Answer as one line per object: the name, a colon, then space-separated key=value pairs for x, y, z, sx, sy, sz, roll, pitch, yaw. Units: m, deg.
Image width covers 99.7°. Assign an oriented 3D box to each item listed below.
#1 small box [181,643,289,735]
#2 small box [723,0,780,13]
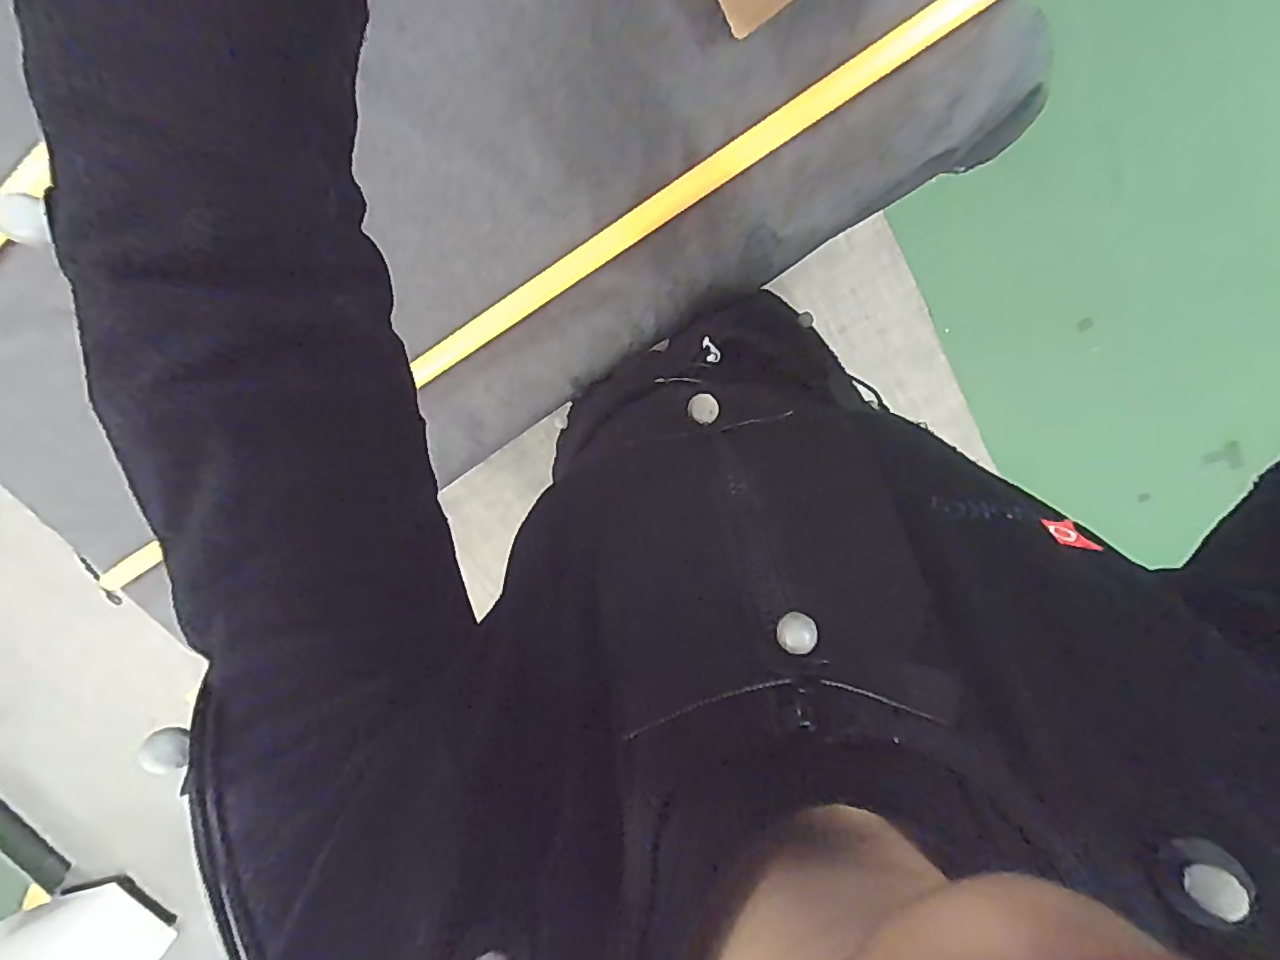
small box: x=-1.263 y=0.654 z=1.701 sx=0.168 sy=0.176 sz=0.179 roll=-34 pitch=106 yaw=16
small box: x=0.101 y=-0.452 z=0.343 sx=0.168 sy=0.176 sz=0.179 roll=-29 pitch=107 yaw=16
